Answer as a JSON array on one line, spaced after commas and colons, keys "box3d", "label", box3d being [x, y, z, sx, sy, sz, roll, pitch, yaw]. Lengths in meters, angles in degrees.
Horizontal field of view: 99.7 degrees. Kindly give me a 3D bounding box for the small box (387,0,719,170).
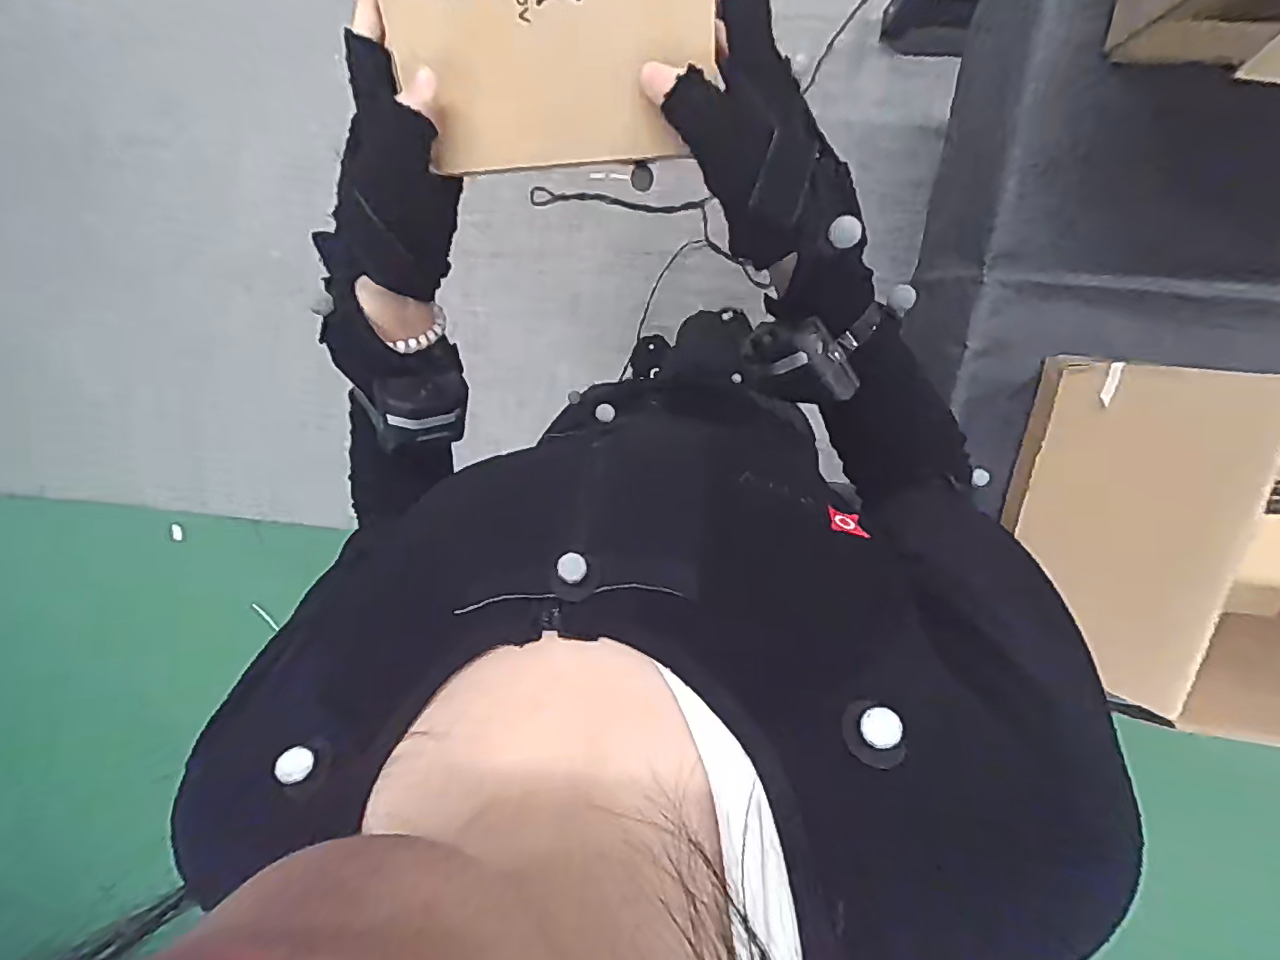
[{"box3d": [-0.043, -0.297, 0.344, 0.179, 0.176, 0.168, 0, 120, 4], "label": "small box"}]
